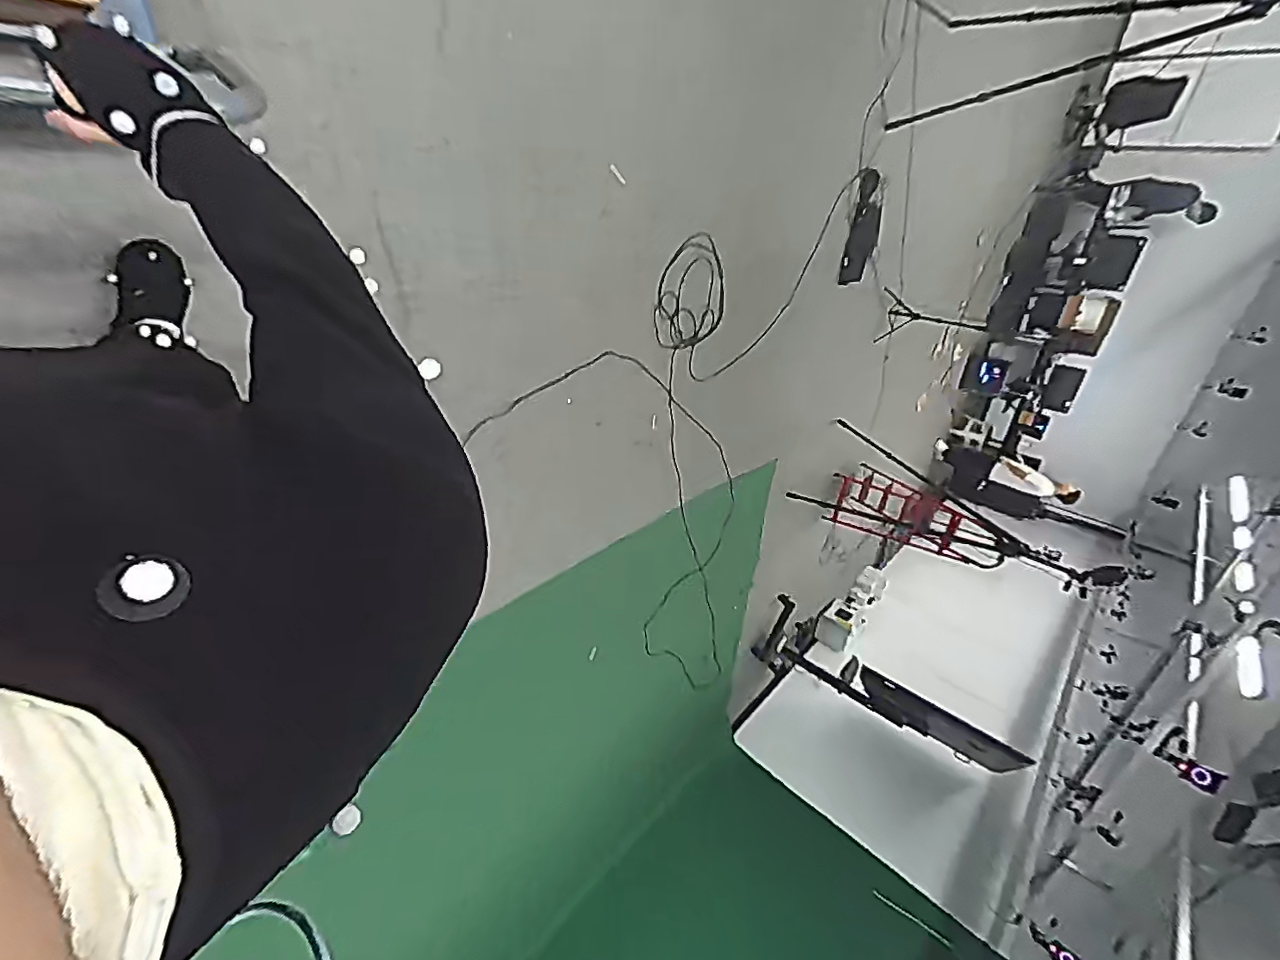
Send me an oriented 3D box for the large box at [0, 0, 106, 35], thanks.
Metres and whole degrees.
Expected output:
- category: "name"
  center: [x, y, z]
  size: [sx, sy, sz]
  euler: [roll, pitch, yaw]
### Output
- category: "large box"
  center: [-0.885, -0.782, 0.589]
  size: [0.320, 0.320, 0.408]
  euler: [-25, 129, -41]
